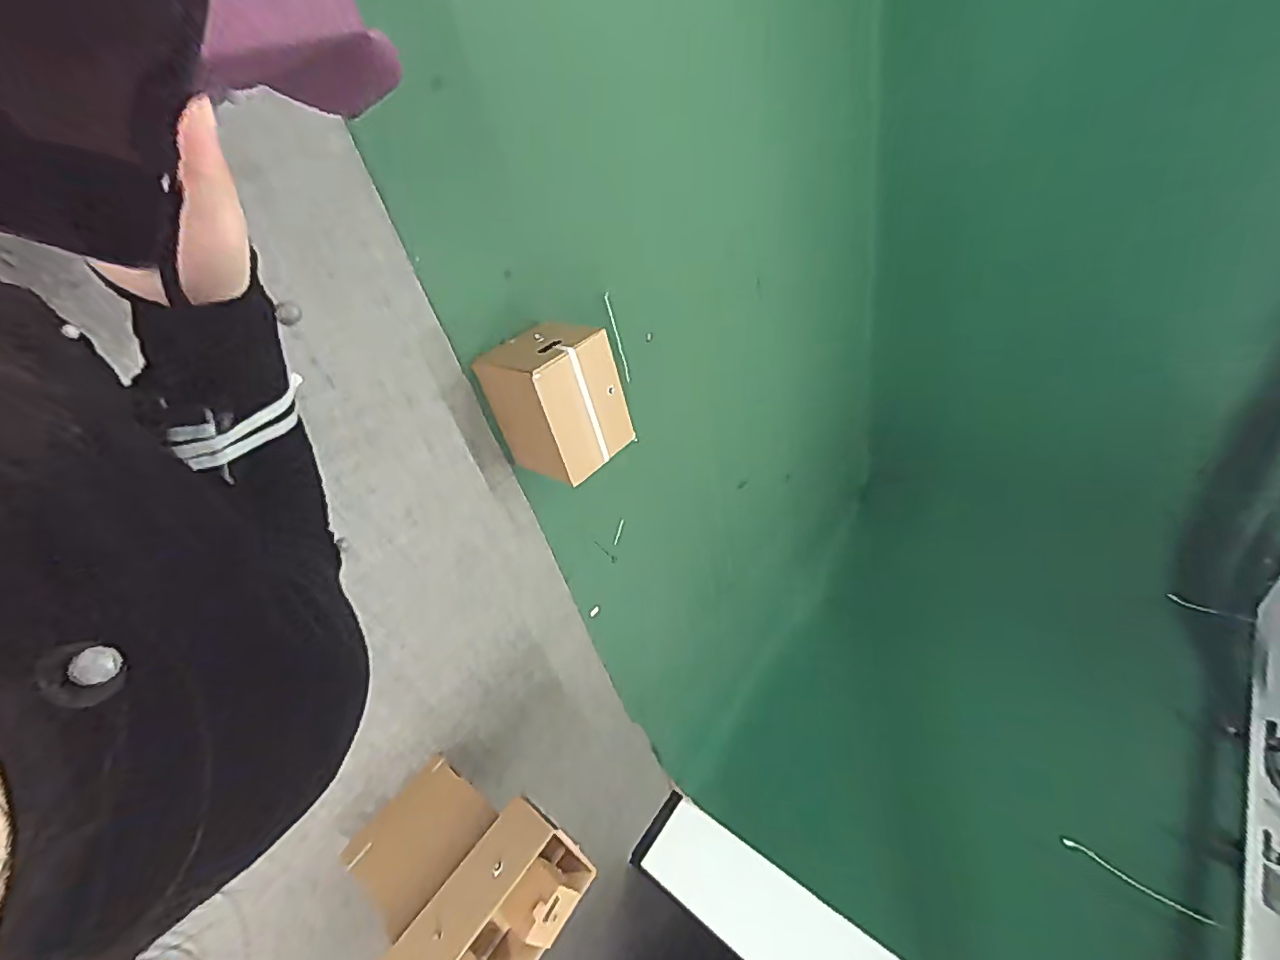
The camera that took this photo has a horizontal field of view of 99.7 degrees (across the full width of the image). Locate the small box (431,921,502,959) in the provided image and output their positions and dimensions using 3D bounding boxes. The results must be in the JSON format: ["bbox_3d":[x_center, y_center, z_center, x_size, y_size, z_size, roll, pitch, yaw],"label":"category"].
[{"bbox_3d":[-0.500,1.450,1.581,0.168,0.176,0.179,-37,130,-34],"label":"small box"}]
